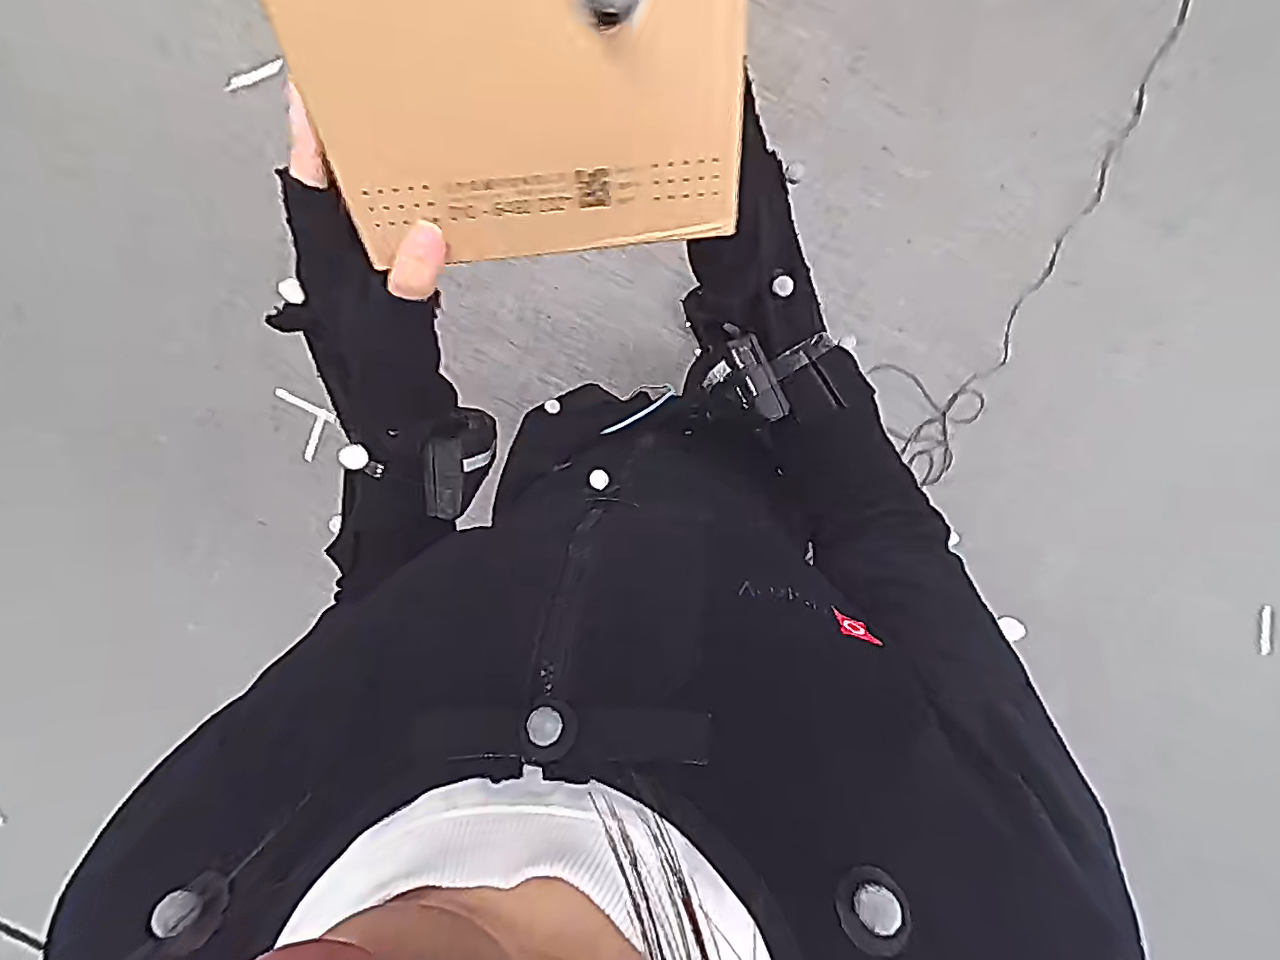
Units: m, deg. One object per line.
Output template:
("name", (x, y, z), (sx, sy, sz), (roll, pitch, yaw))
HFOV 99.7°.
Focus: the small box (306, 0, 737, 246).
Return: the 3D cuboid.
("small box", (-0.047, -0.227, 0.267), (0.168, 0.179, 0.176), (-6, 133, -1))
